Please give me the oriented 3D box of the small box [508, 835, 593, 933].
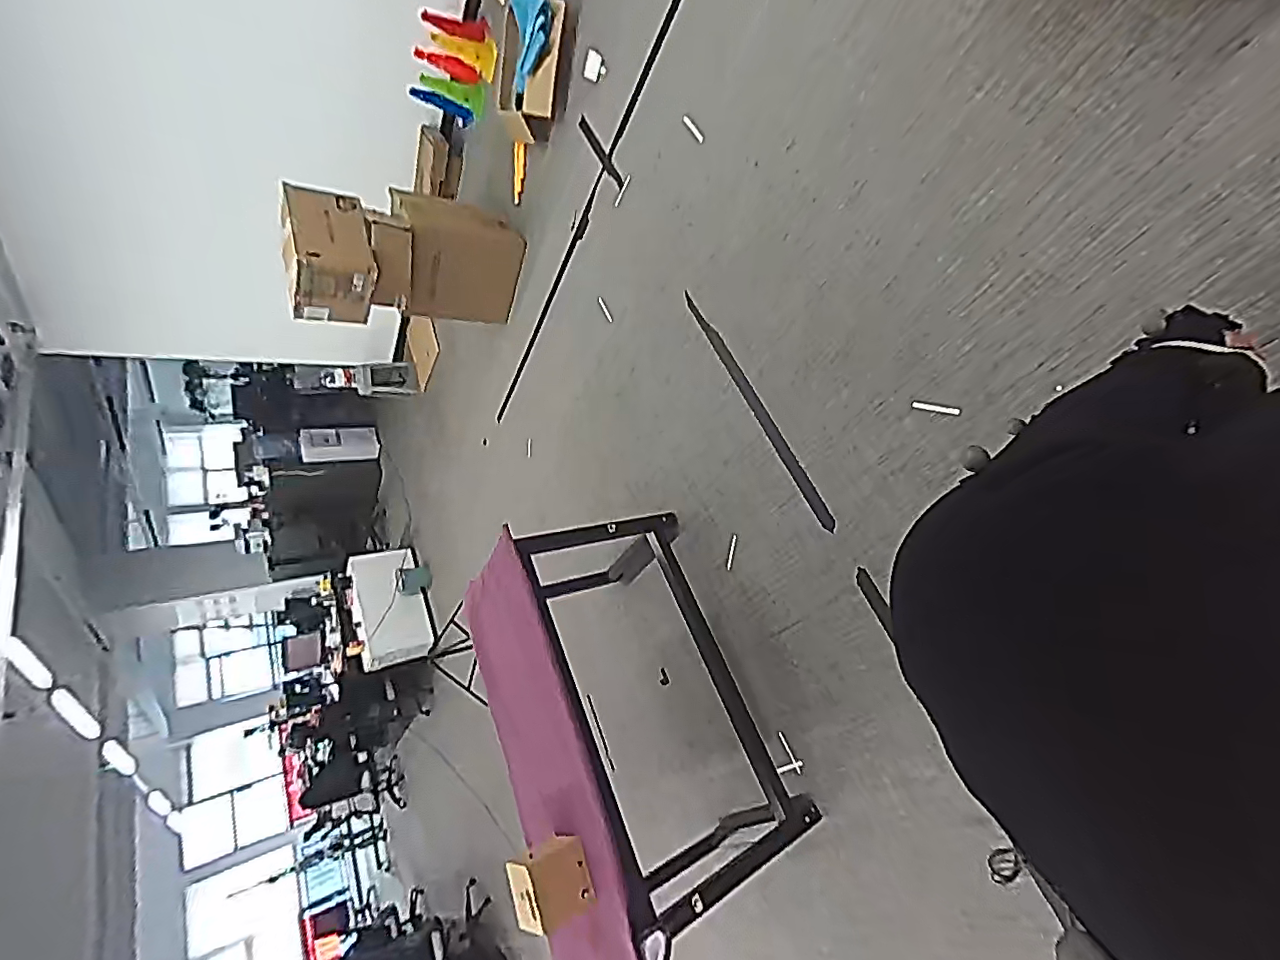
[{"bbox_3d":[-0.248,1.129,1.526,0.179,0.176,0.168,-43,61,47],"label":"small box"}]
